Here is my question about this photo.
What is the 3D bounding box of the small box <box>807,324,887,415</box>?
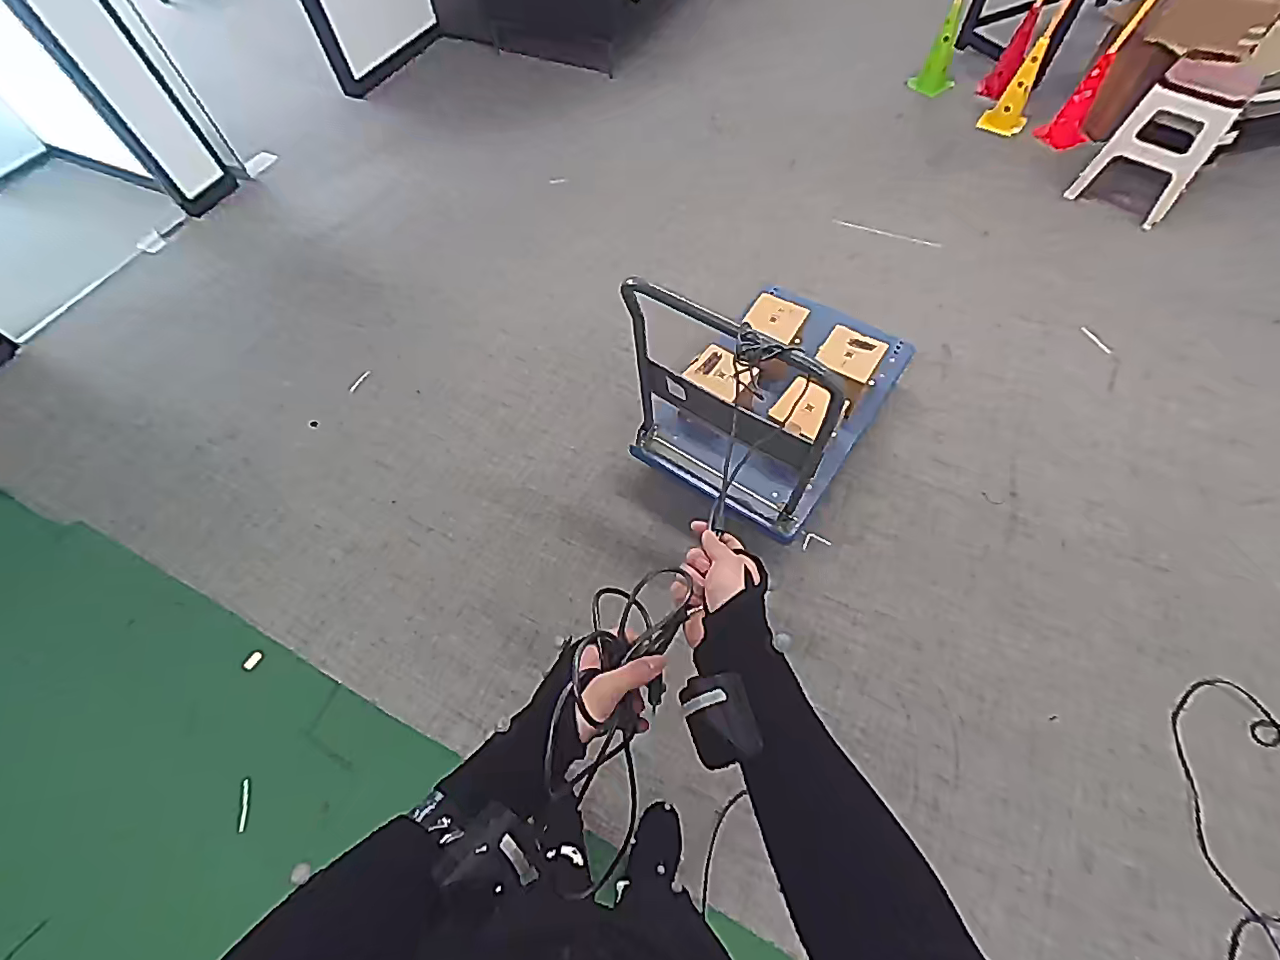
[{"bbox_3d":[0.623,-0.336,1.659,0.168,0.176,0.179,30,68,19],"label":"small box"}]

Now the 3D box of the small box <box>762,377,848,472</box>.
[{"bbox_3d":[0.471,-0.159,1.573,0.168,0.176,0.179,33,69,20],"label":"small box"}]

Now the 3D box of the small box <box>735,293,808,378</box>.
[{"bbox_3d":[0.417,-0.461,1.743,0.168,0.176,0.179,28,66,17],"label":"small box"}]
